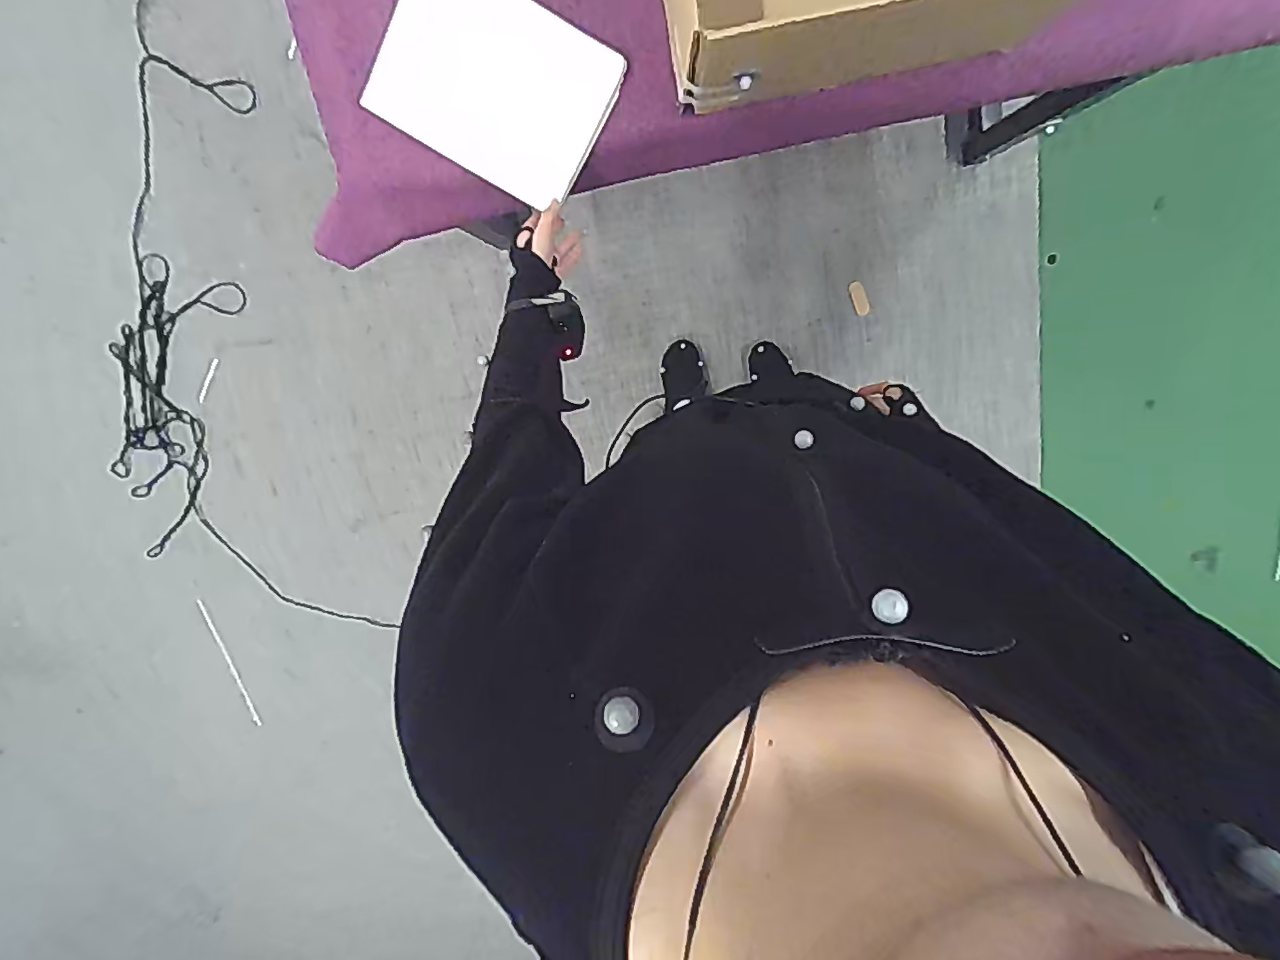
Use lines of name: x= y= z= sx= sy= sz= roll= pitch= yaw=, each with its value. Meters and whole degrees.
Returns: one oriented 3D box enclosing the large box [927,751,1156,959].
large box: x=1.159 y=1.092 z=1.601 sx=0.408 sy=0.320 sz=0.320 roll=-25 pitch=103 yaw=6
